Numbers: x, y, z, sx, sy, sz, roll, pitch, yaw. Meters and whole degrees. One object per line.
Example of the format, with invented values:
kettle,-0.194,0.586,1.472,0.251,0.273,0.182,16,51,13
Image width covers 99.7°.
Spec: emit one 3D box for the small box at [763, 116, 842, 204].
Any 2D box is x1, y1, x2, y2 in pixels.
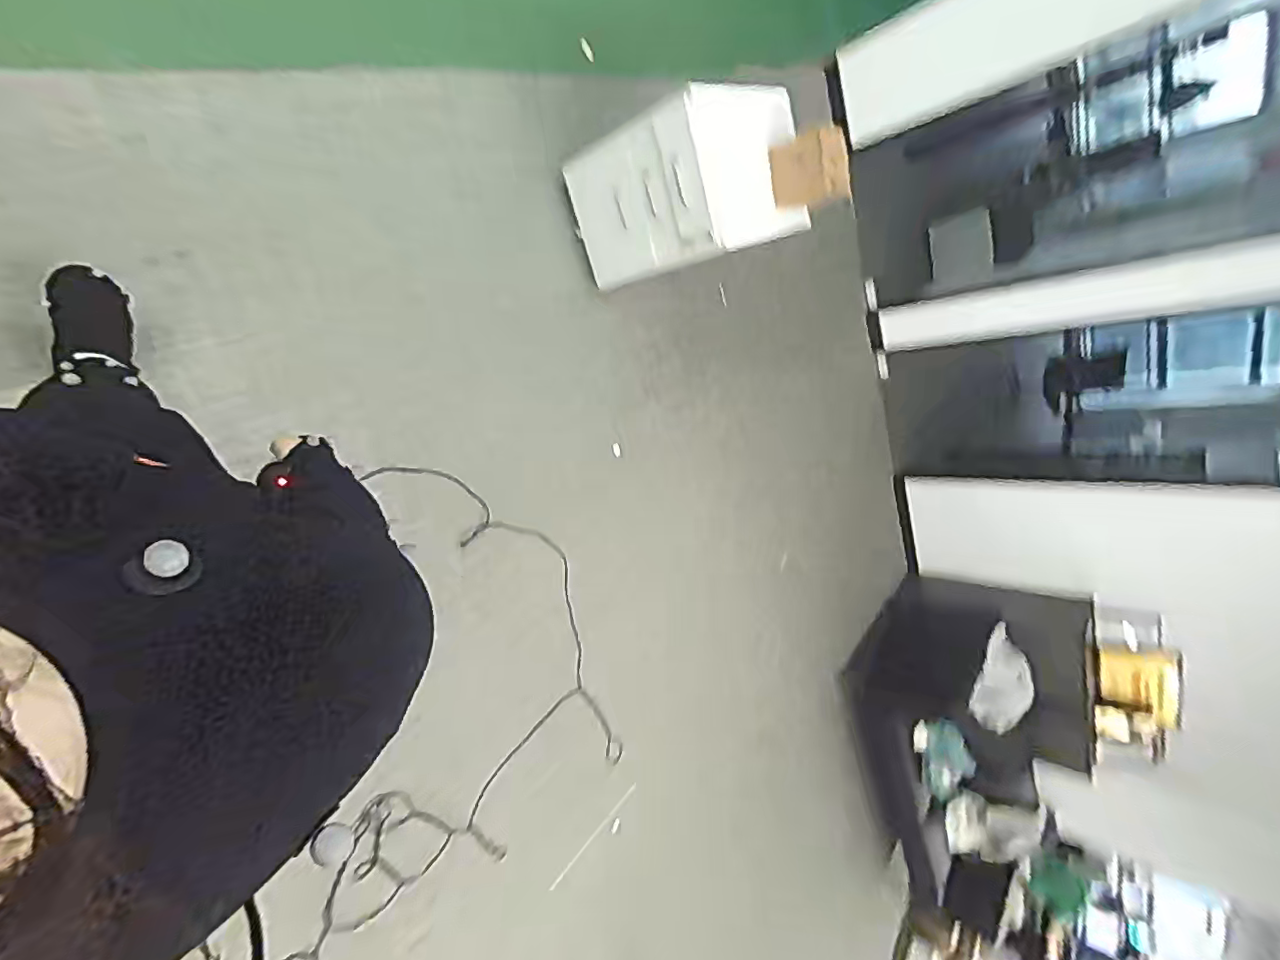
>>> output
small box,0.489,-0.959,1.636,0.168,0.176,0.179,-24,109,-41
